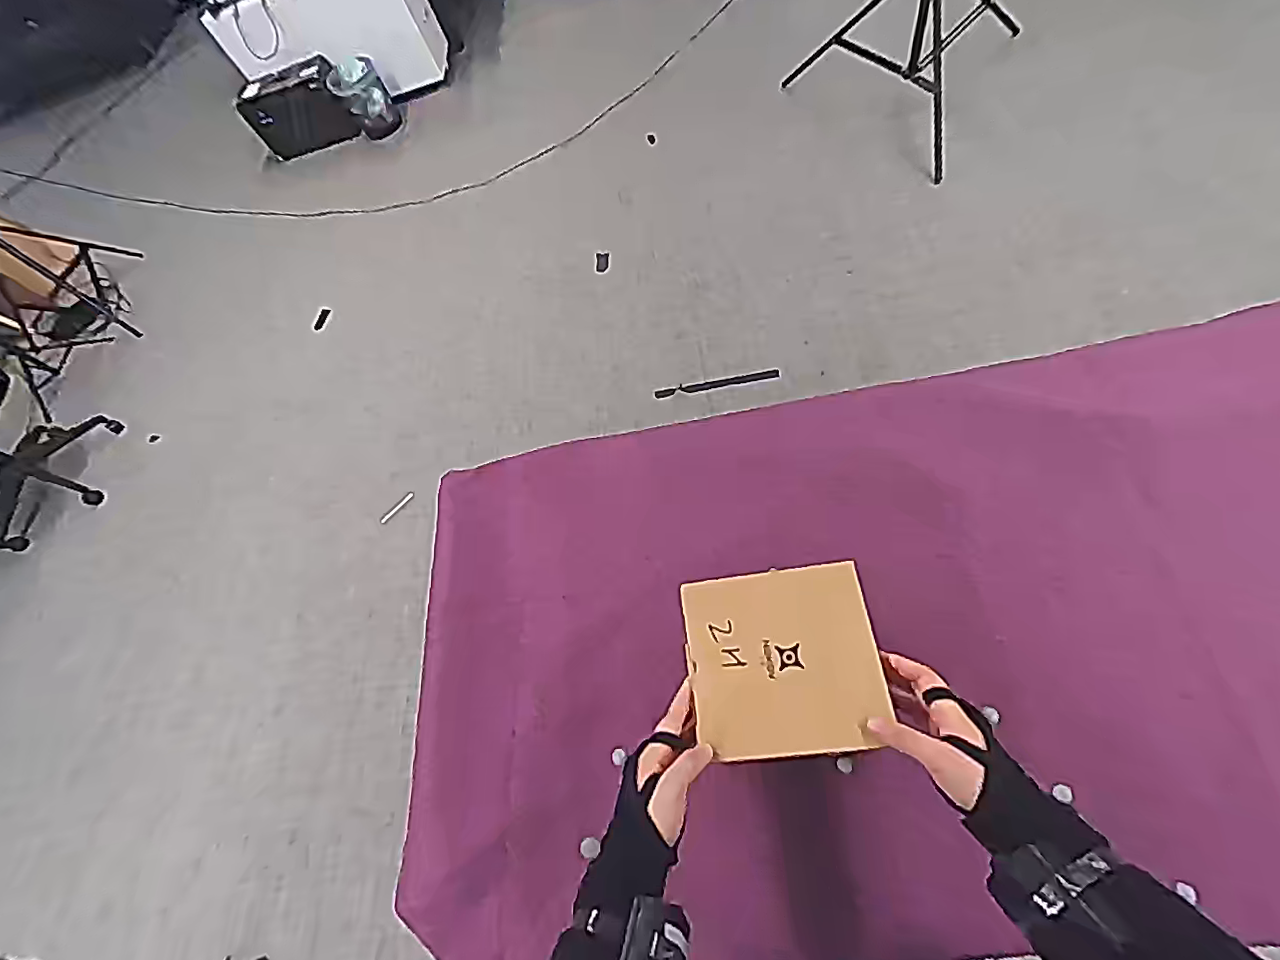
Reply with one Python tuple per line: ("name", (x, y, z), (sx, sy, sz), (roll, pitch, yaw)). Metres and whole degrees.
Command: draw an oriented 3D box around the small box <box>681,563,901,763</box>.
("small box", (0.148, 0.200, 0.571), (0.179, 0.176, 0.168), (-10, 61, 10))
